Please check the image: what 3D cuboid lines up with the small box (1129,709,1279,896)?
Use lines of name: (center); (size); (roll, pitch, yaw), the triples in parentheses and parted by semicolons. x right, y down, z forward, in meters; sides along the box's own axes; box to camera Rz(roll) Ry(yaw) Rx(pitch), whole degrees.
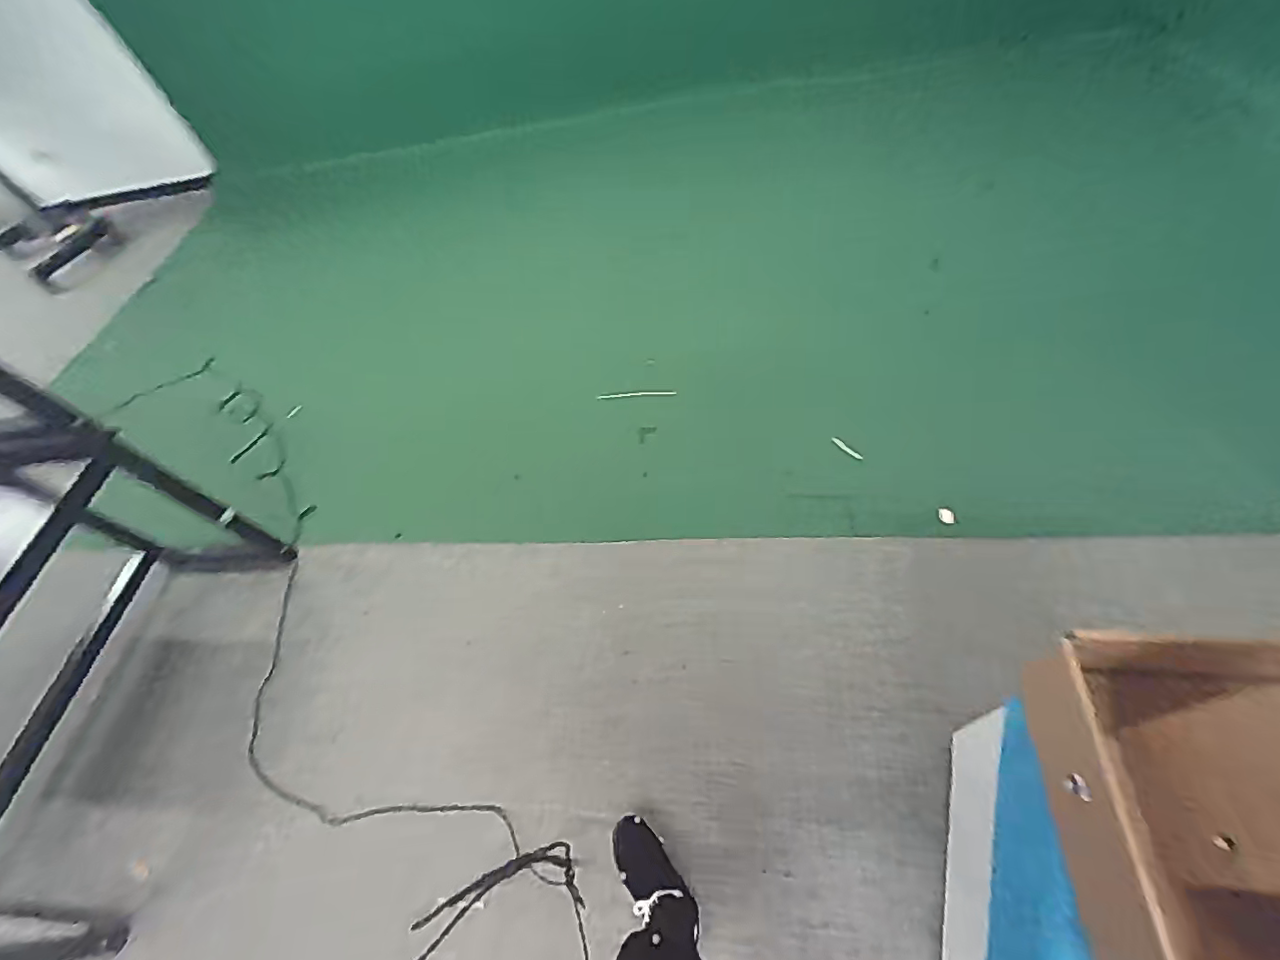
small box: (0.733, 0.379, 0.631); (0.168, 0.176, 0.179); (-1, 59, 11)
